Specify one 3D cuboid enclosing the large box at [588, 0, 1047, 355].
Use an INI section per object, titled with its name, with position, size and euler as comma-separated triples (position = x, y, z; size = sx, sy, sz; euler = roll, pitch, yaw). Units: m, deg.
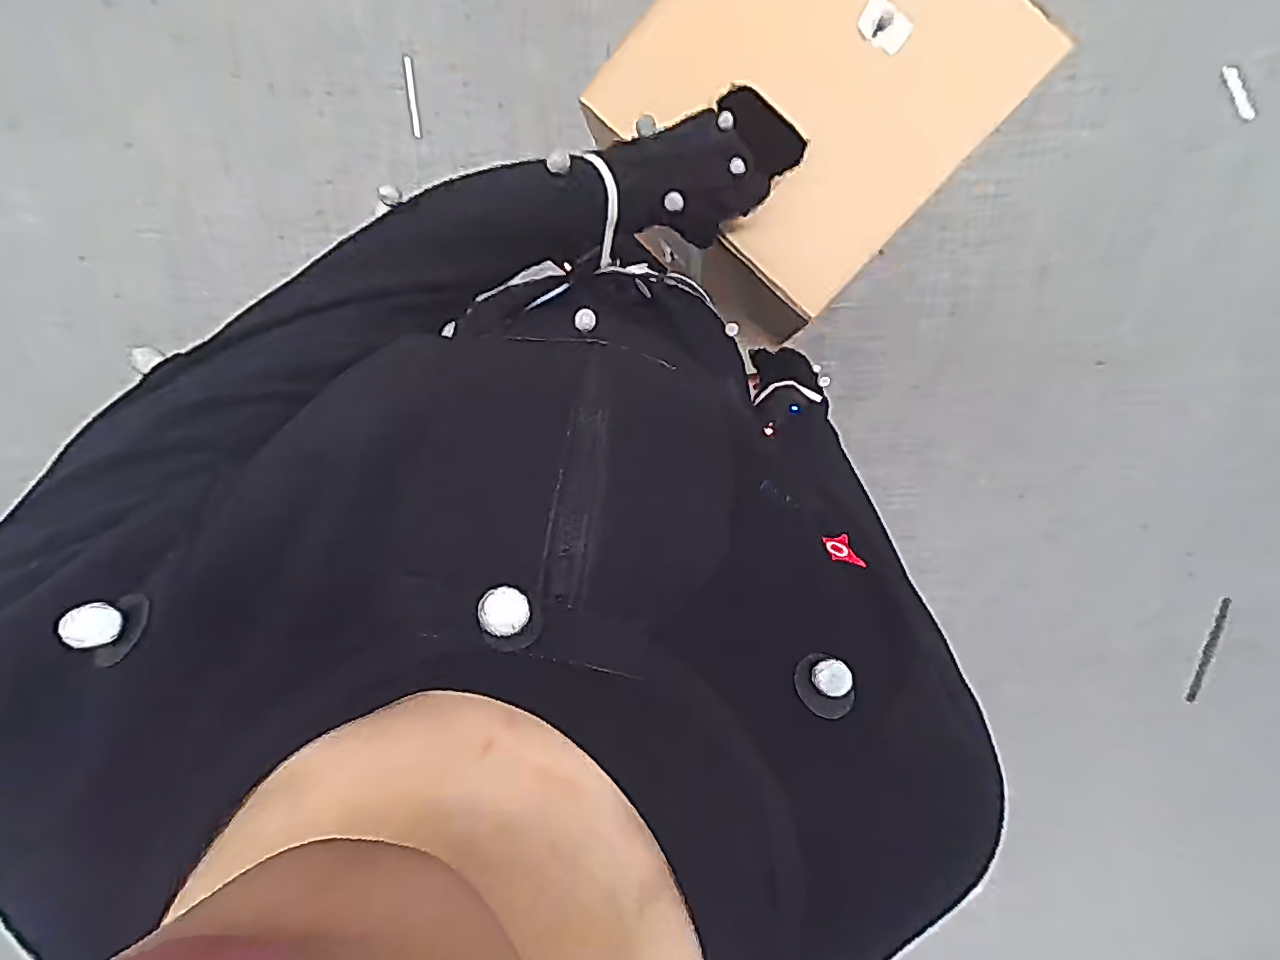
[large box]
position = 0.185, -0.396, 0.693
size = 0.320, 0.408, 0.320
euler = 44, 101, 0
